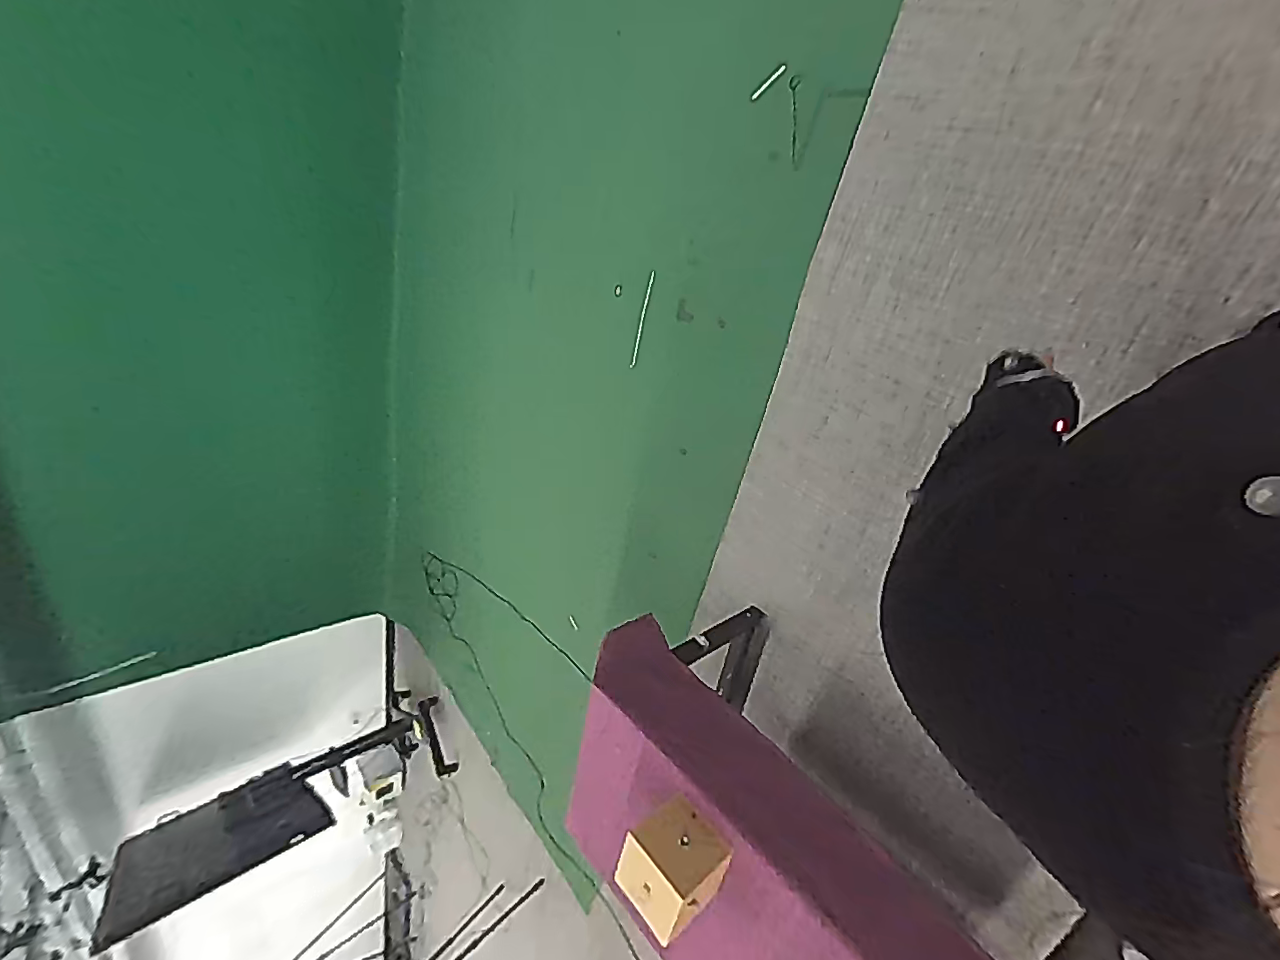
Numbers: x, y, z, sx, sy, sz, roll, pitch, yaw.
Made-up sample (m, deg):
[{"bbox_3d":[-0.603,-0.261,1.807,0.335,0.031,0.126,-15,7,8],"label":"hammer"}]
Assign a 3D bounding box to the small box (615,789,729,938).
[{"bbox_3d":[0.073,0.833,1.193,0.168,0.176,0.179,34,122,38],"label":"small box"}]
